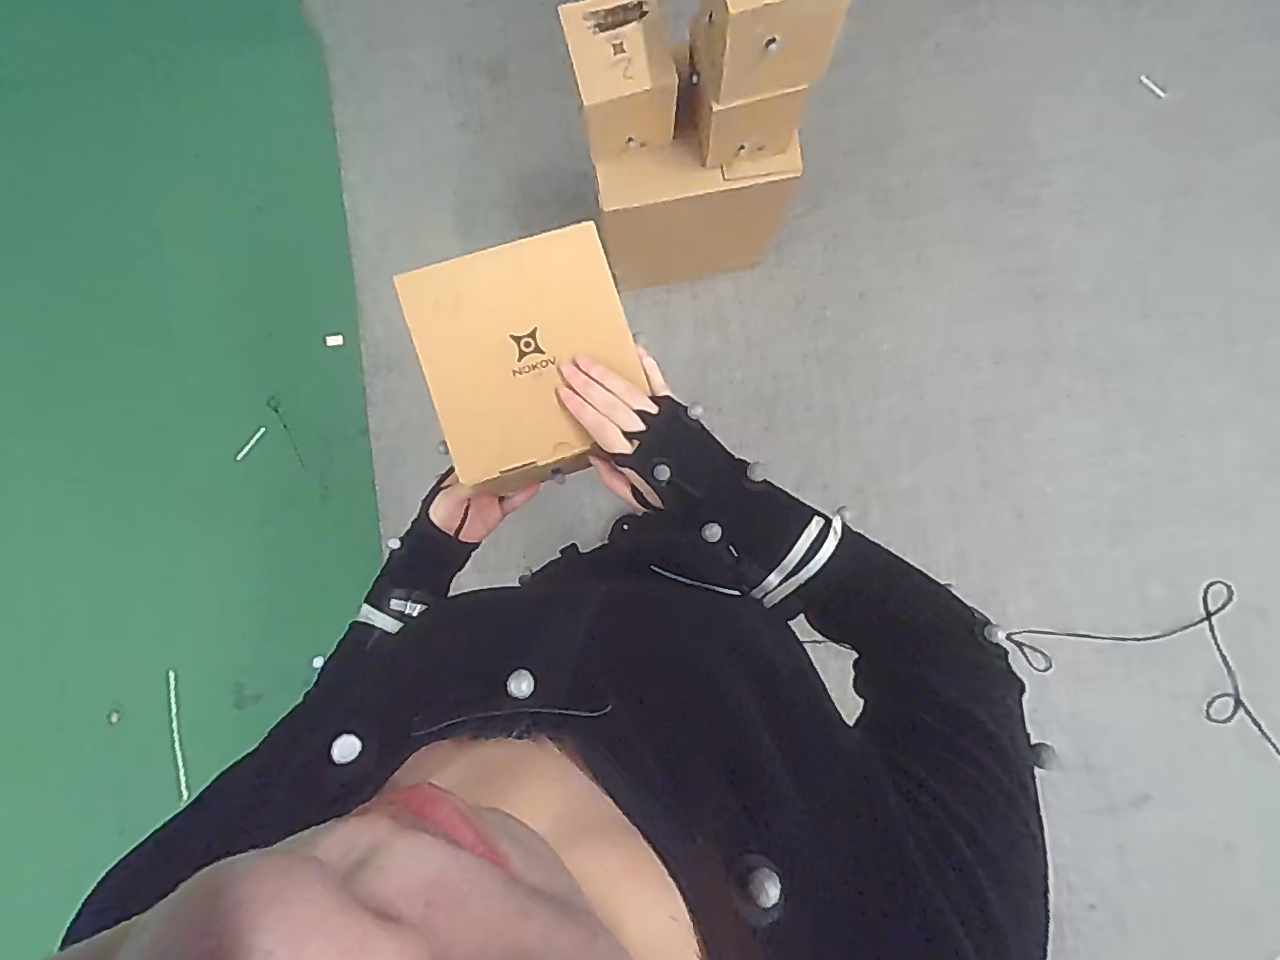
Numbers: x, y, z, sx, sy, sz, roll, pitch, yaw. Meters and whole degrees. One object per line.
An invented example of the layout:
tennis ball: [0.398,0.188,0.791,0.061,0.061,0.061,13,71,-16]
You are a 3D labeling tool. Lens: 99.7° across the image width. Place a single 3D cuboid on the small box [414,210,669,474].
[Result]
small box: [-0.087,-0.113,0.511,0.168,0.176,0.179,-18,90,-7]
